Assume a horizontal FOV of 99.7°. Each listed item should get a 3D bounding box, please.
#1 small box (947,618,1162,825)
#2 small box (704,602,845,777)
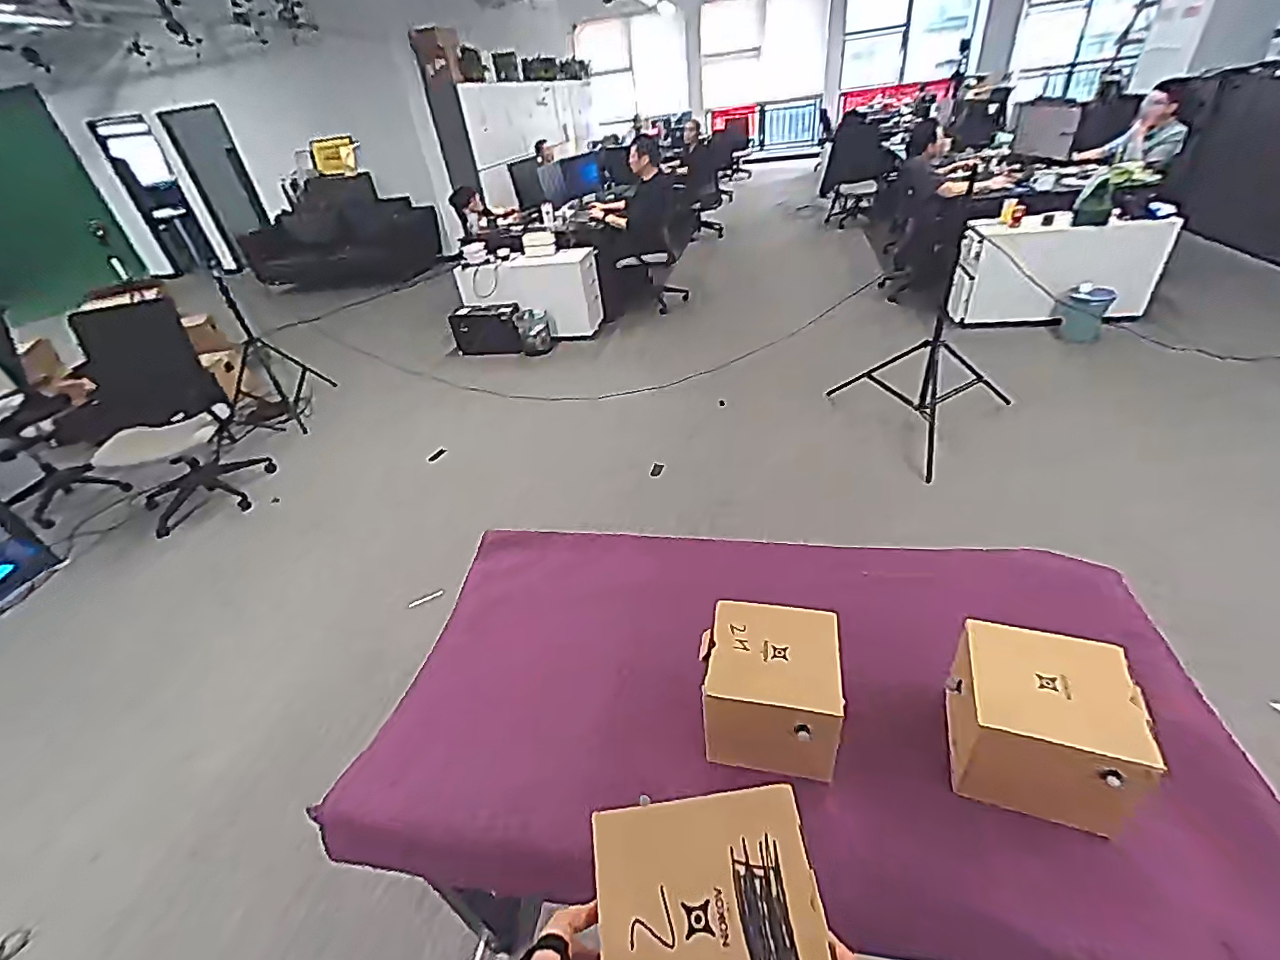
[{"bbox_3d":[0.514,0.312,0.707,0.179,0.176,0.168,7,37,21],"label":"small box"},{"bbox_3d":[0.193,0.303,0.788,0.179,0.176,0.168,2,35,15],"label":"small box"}]
